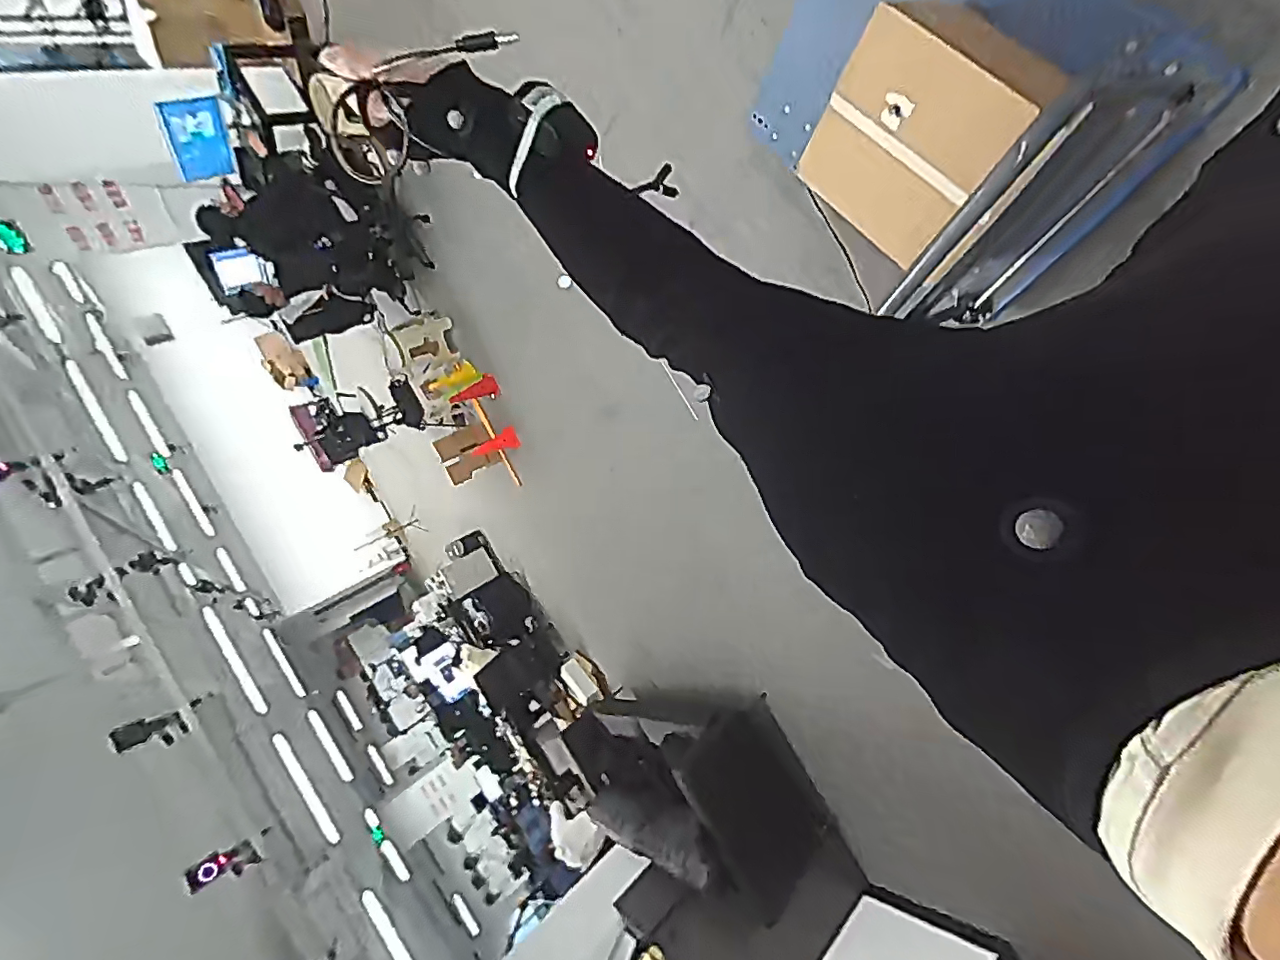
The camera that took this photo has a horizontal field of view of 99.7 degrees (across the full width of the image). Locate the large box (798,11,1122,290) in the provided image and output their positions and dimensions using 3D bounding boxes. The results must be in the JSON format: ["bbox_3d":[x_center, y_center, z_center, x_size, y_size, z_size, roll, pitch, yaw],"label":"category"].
[{"bbox_3d":[0.618,-0.663,1.089,0.408,0.320,0.320,52,148,16],"label":"large box"}]
